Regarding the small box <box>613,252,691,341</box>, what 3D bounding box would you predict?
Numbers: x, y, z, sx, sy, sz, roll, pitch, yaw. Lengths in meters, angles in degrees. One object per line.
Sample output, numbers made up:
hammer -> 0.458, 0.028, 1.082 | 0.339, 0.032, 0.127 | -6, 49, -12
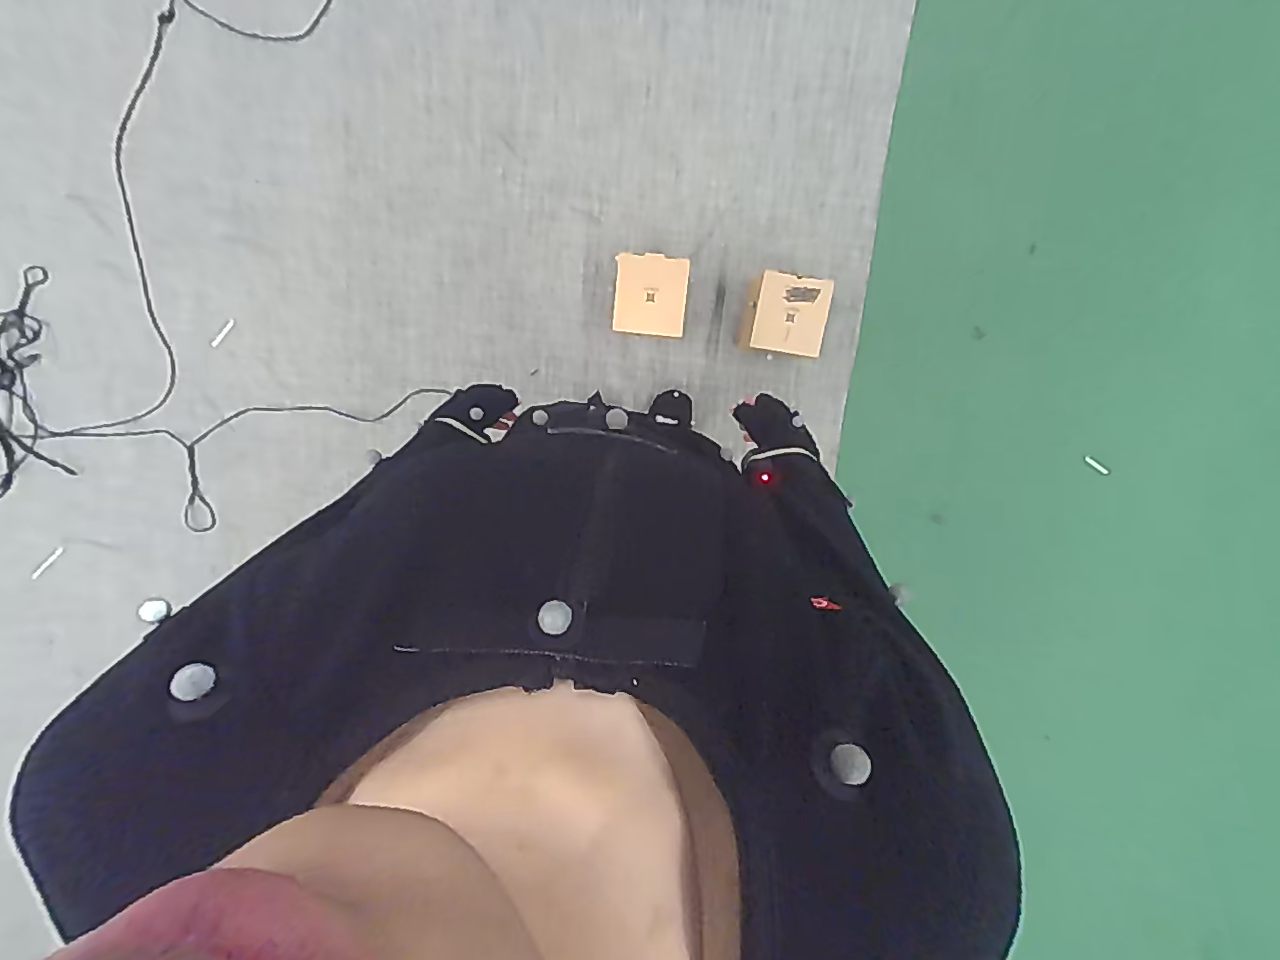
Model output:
small box -> 0.028, -0.437, 1.314 | 0.168, 0.176, 0.179 | 5, 100, 0

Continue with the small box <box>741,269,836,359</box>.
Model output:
small box -> 0.352, -0.396, 1.315 | 0.168, 0.176, 0.179 | 9, 102, 0
